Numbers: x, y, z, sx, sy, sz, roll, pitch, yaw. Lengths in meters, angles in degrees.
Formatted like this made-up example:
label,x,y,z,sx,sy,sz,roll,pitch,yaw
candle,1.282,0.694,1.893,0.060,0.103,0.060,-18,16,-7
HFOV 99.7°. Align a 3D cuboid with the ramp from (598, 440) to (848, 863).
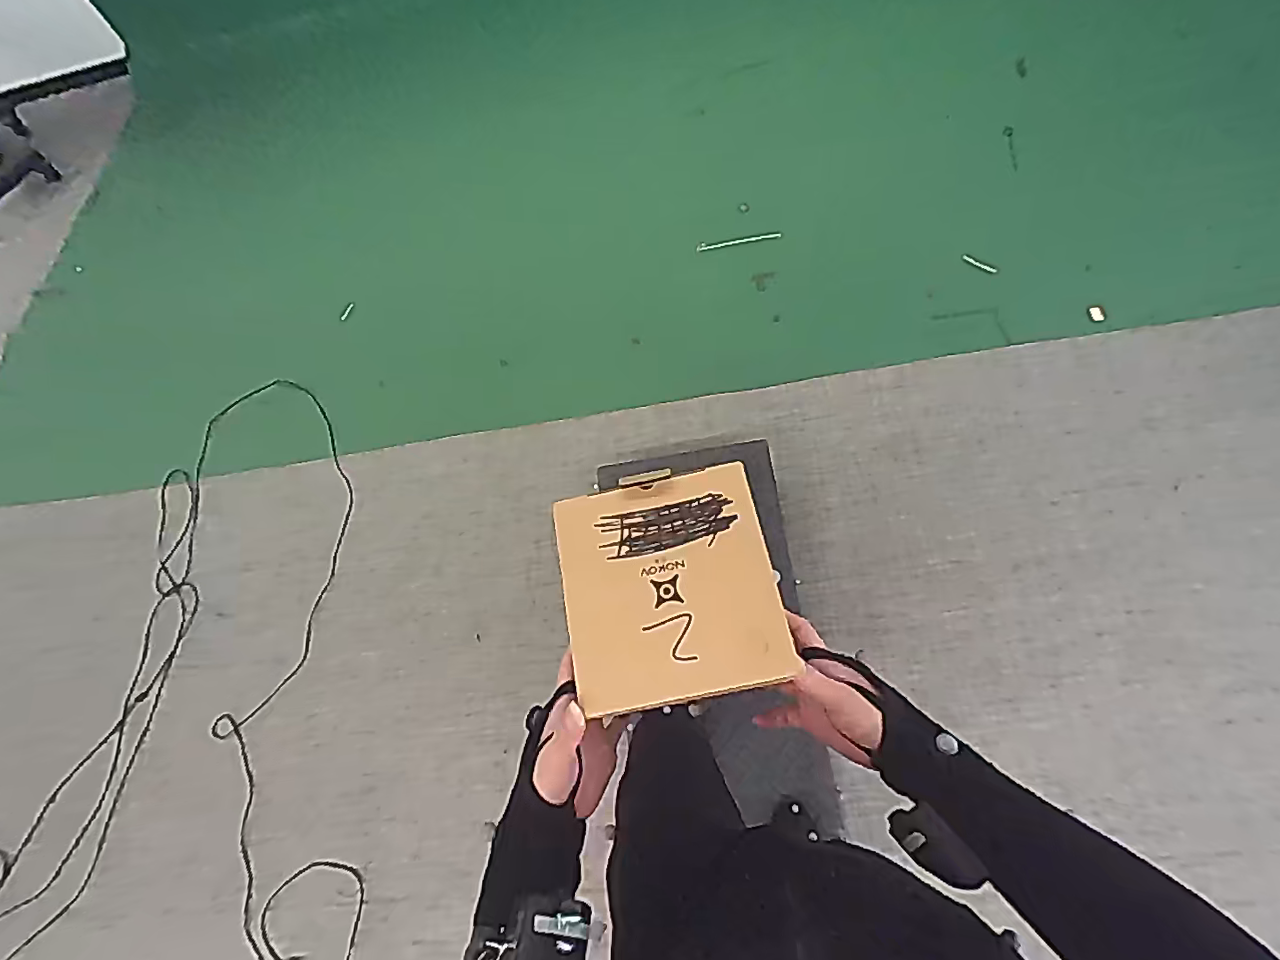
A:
label,x,y,z,sx,sy,sz,roll,pitch,yaw
ramp,0.185,0.404,1.400,0.509,0.206,0.991,-10,65,5
